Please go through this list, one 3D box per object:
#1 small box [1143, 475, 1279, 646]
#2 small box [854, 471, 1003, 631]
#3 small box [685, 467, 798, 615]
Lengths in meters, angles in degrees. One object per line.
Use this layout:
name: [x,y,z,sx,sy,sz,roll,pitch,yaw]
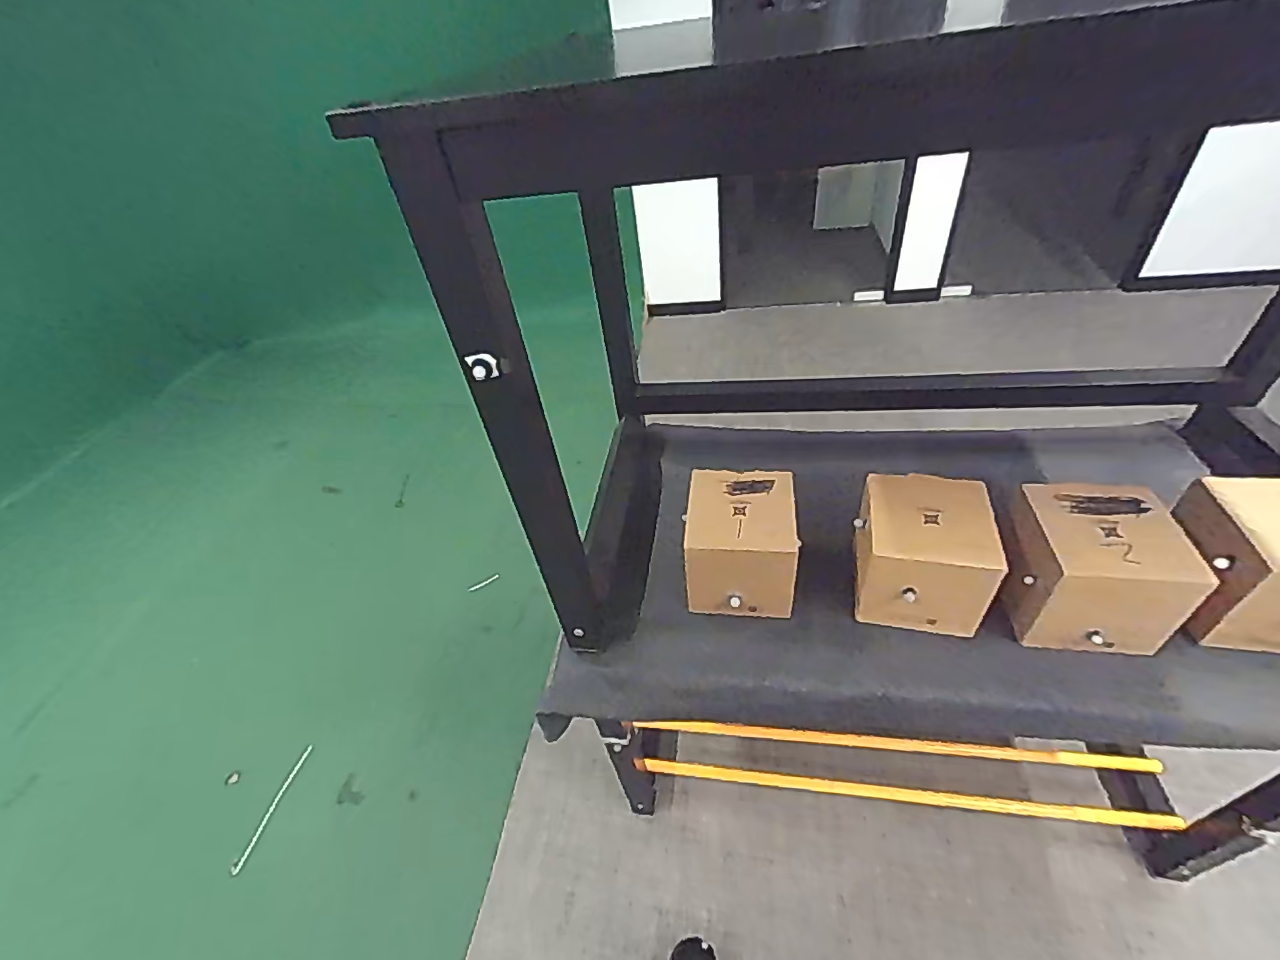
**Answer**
small box: [0.862,0.114,0.746,0.168,0.176,0.179,3,42,13]
small box: [0.430,0.110,0.837,0.168,0.176,0.179,5,43,16]
small box: [0.167,0.098,0.894,0.168,0.176,0.179,1,43,11]
